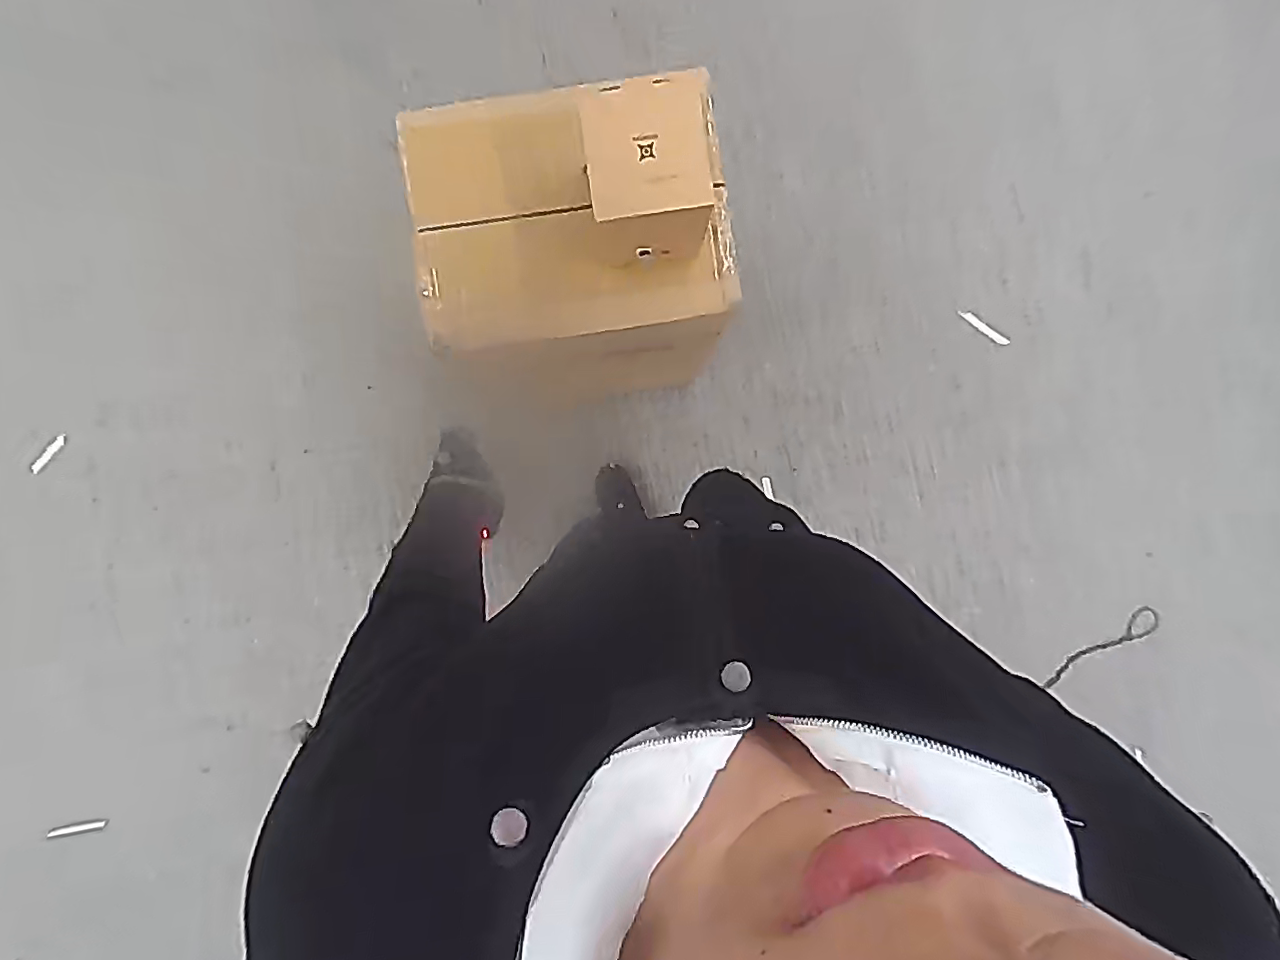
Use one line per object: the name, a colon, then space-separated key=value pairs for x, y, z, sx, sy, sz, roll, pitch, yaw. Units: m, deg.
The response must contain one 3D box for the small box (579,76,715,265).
small box: x=0.009 y=-0.447 z=0.805 sx=0.168 sy=0.176 sz=0.179 roll=-9 pitch=92 yaw=1
